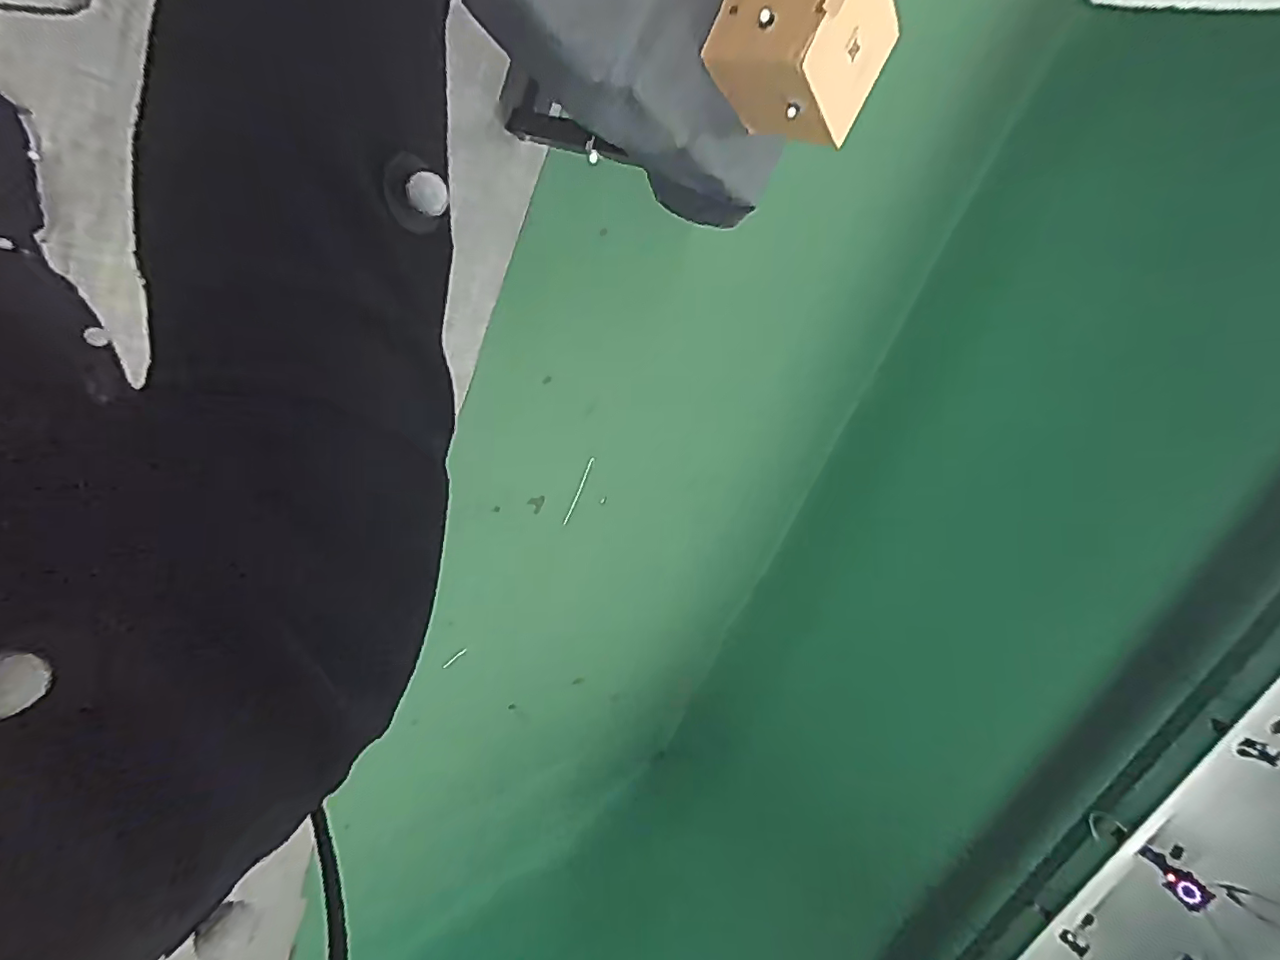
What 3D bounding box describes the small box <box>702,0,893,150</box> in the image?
[{"bbox_3d":[0.215,-0.597,0.747,0.179,0.176,0.168,10,111,-56],"label":"small box"}]
